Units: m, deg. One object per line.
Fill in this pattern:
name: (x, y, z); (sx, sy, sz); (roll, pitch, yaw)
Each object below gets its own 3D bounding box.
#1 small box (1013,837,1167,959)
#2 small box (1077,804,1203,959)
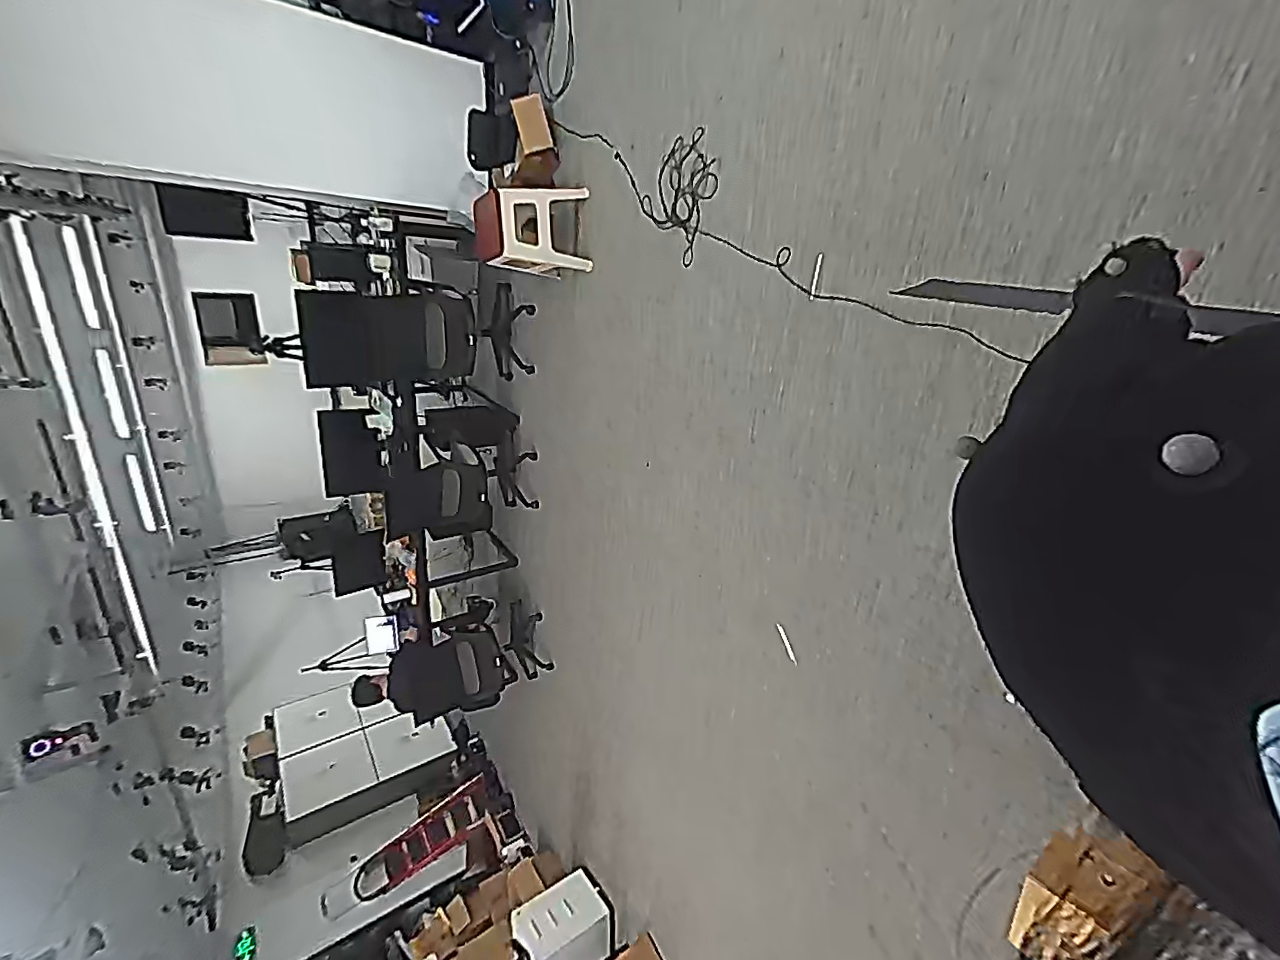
small box: (0.840, 0.831, 1.012); (0.168, 0.176, 0.179); (22, 116, 51)
small box: (0.980, 0.810, 1.093); (0.168, 0.176, 0.179); (36, 126, 44)
